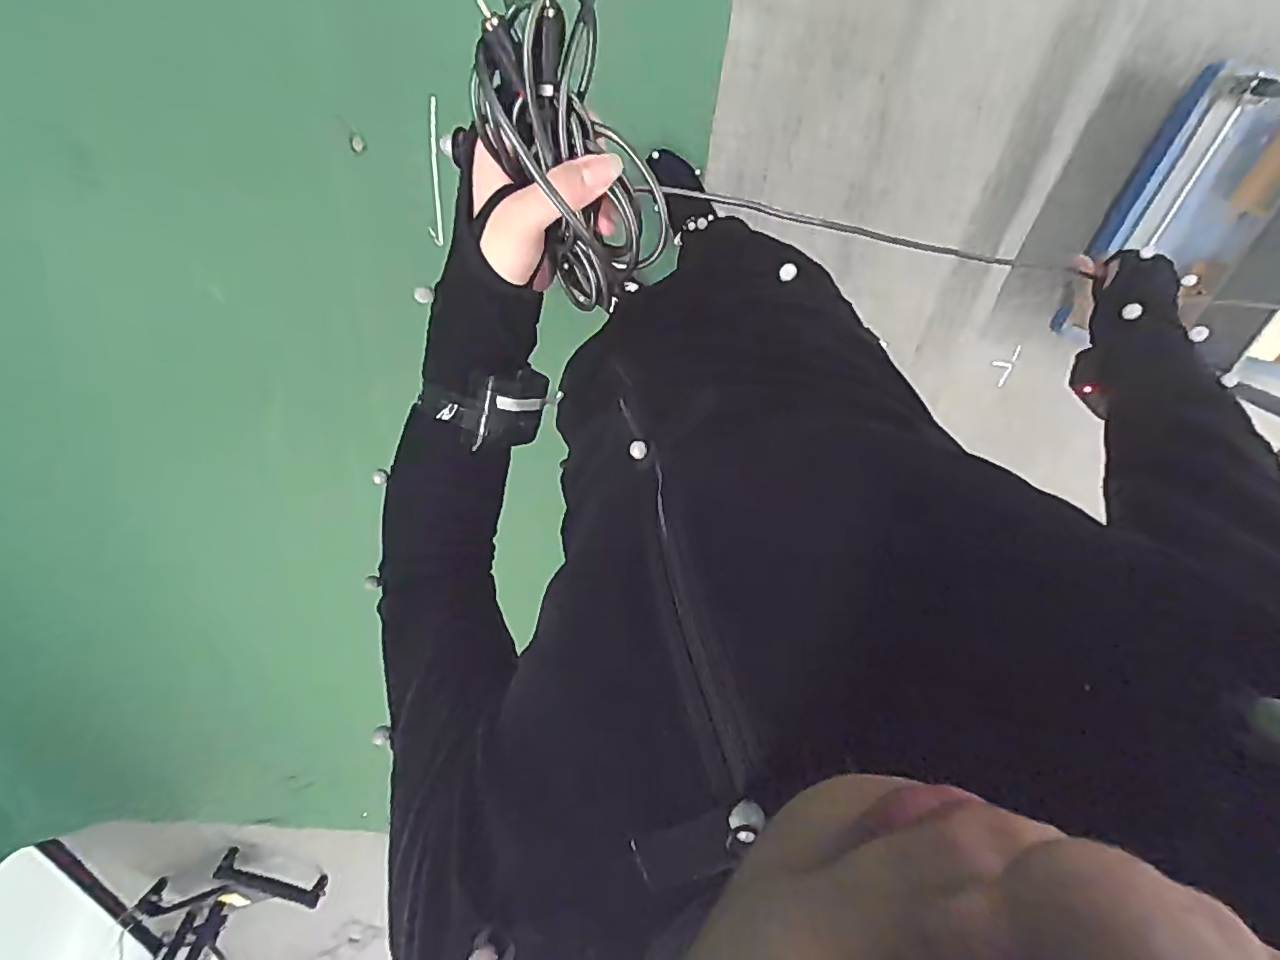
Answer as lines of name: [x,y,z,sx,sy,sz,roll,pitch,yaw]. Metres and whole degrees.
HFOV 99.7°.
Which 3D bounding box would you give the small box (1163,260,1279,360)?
small box: [1.396,-0.397,1.248,0.179,0.176,0.168,10,122,-5]
